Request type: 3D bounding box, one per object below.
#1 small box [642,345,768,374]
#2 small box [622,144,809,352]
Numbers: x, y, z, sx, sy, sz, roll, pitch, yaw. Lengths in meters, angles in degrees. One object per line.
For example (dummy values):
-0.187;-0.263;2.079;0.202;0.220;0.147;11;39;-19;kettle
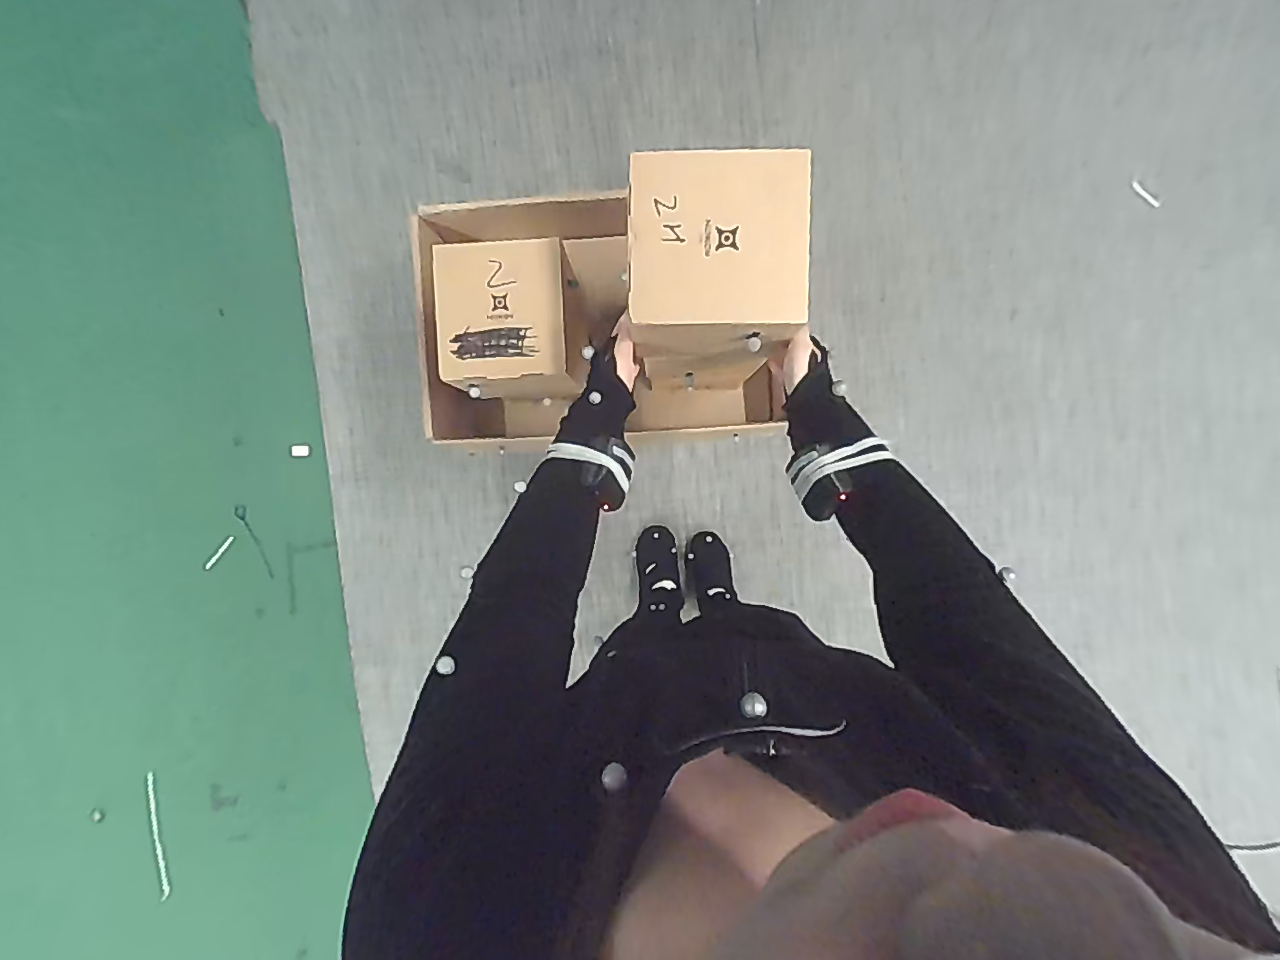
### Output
0.084;-0.251;0.760;0.168;0.176;0.179;-1;93;3;small box
0.075;-0.240;0.596;0.179;0.176;0.168;1;92;4;small box
